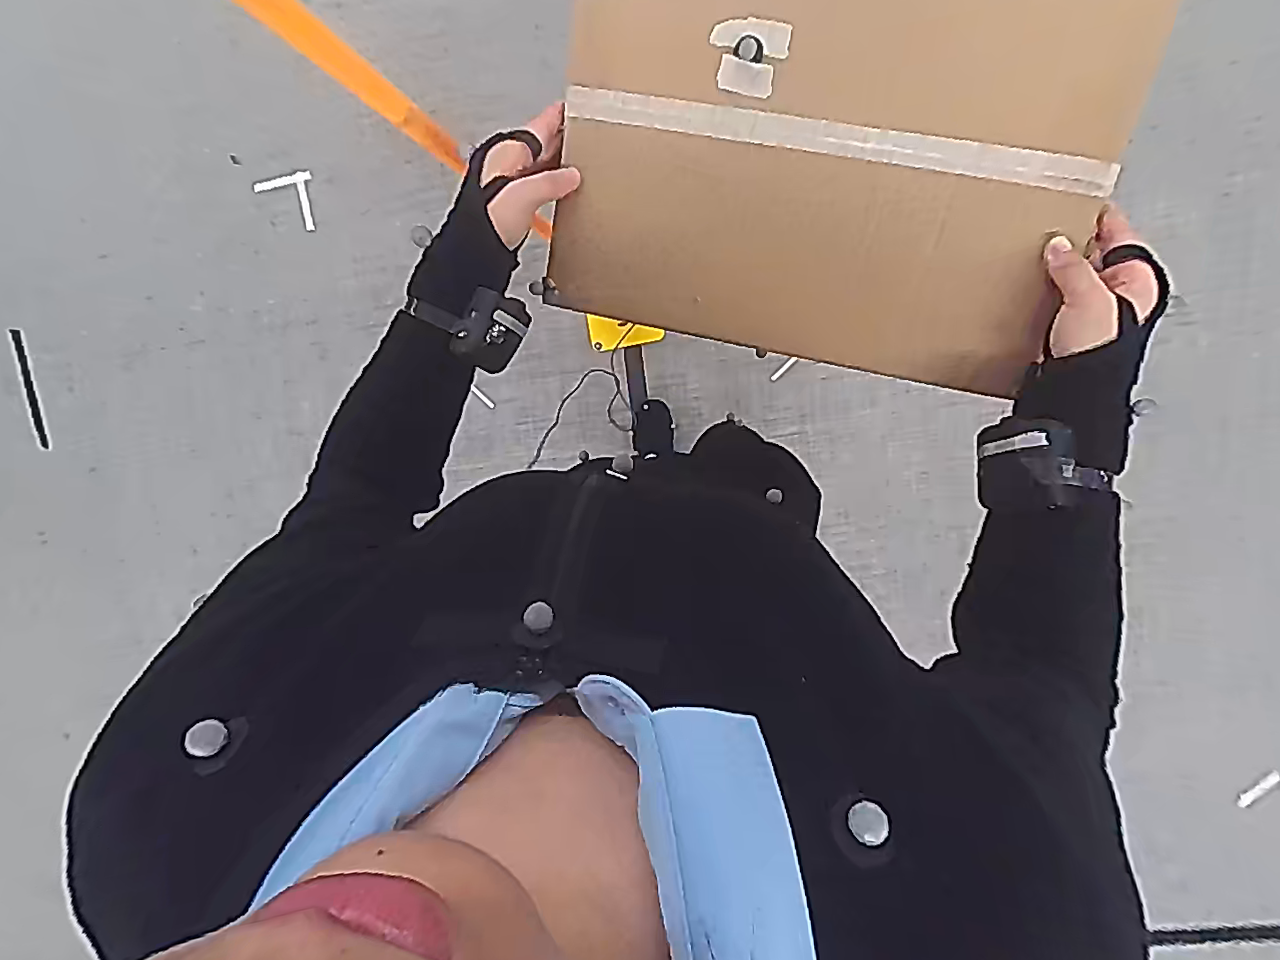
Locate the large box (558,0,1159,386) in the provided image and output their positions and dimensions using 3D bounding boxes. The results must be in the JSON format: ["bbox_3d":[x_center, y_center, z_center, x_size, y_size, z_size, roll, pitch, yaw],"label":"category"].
[{"bbox_3d":[0.170,-0.302,0.565,0.408,0.320,0.320,14,107,8],"label":"large box"}]
